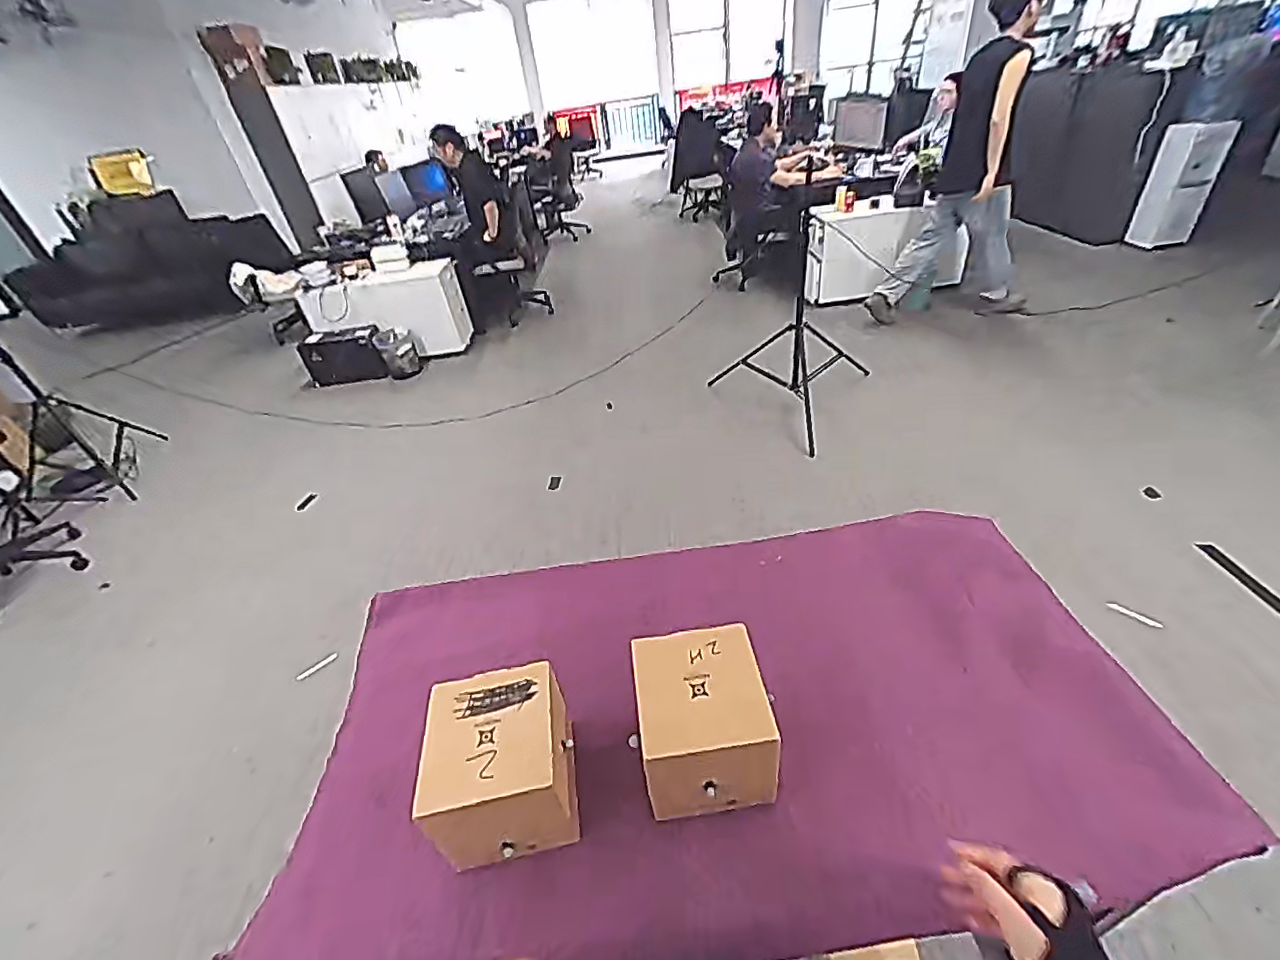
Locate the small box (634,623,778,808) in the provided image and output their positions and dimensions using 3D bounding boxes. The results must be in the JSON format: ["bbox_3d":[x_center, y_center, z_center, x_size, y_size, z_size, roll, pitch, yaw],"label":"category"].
[{"bbox_3d":[0.087,0.331,0.754,0.168,0.176,0.179,-8,35,-1],"label":"small box"}]
